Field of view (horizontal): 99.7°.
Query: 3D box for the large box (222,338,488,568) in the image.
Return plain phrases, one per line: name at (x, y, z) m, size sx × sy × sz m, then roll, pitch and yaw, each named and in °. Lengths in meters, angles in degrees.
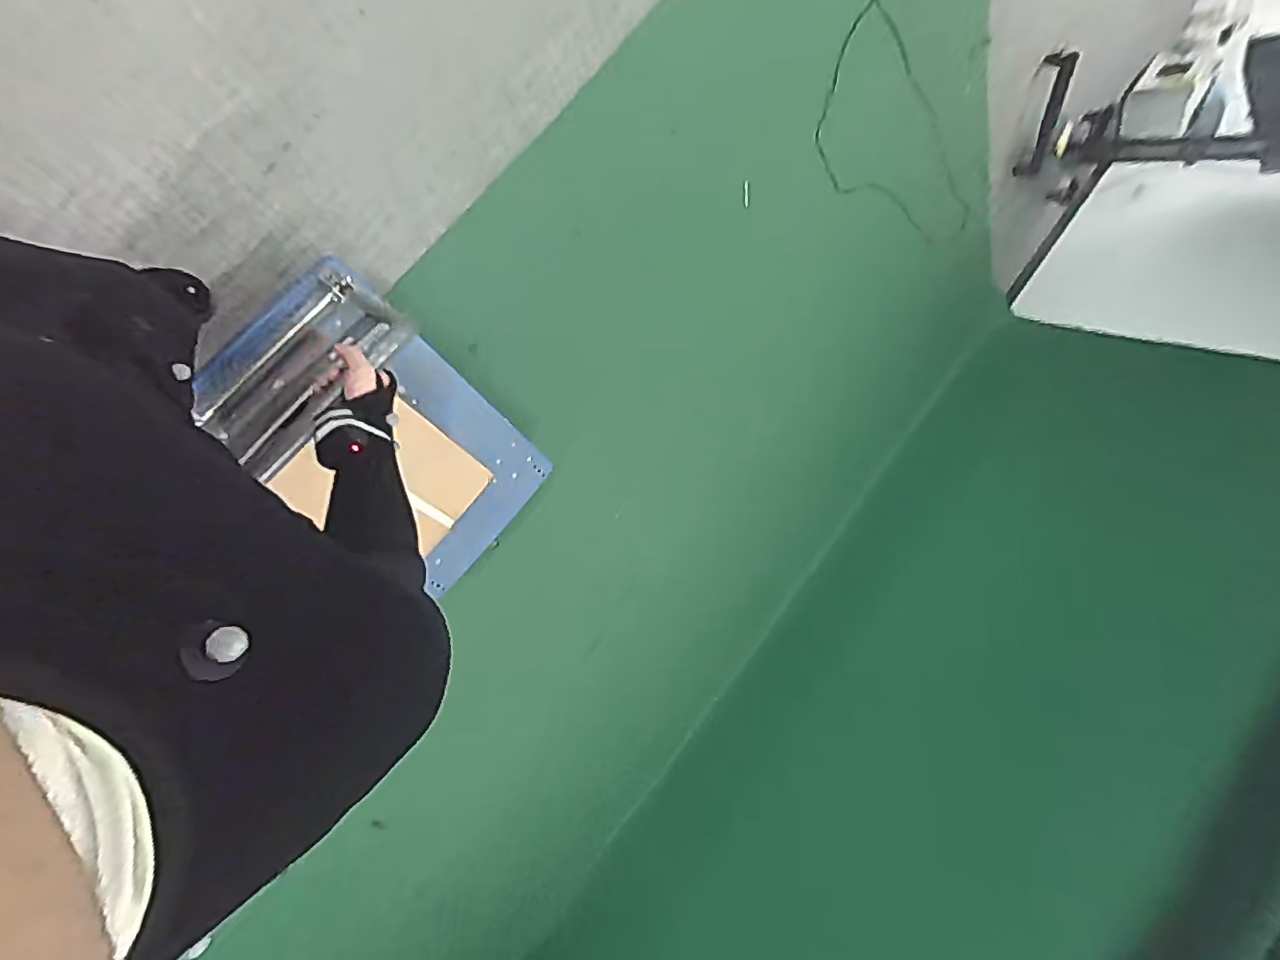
large box at (-0.653, -0.061, 1.264) m, size 0.320 × 0.320 × 0.408 m, roll -50°, pitch 137°, yaw -9°
